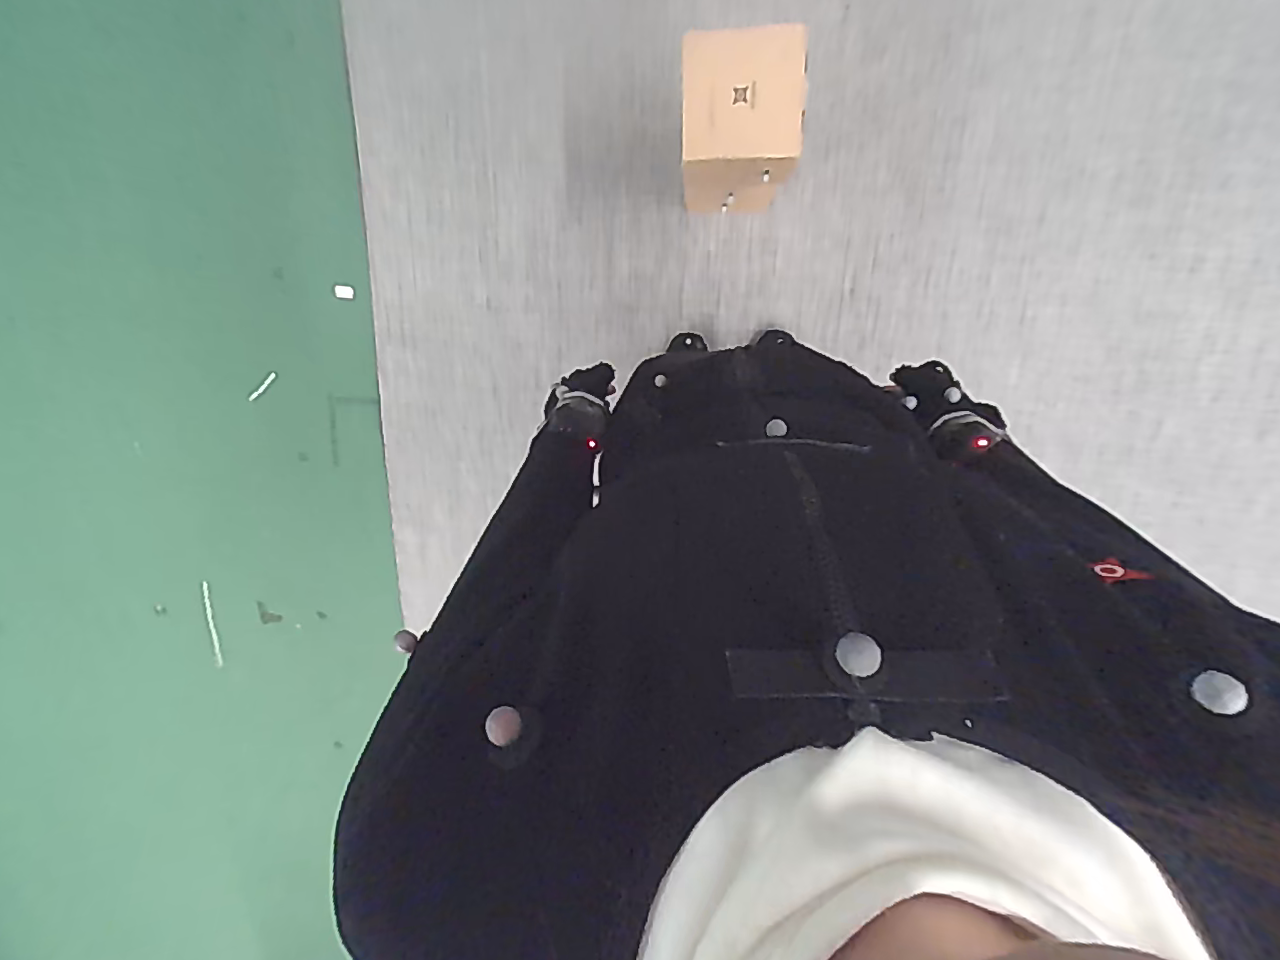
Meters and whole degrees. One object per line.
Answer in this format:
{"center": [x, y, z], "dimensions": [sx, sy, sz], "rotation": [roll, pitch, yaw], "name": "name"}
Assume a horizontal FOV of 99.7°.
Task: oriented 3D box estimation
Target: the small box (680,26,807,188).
{"center": [0.156, -0.573, 0.854], "dimensions": [0.179, 0.176, 0.168], "rotation": [1, 105, 8], "name": "small box"}

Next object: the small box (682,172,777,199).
{"center": [0.167, -0.632, 1.006], "dimensions": [0.179, 0.176, 0.168], "rotation": [1, 106, 6], "name": "small box"}

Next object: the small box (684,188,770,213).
{"center": [0.188, -0.680, 1.160], "dimensions": [0.179, 0.176, 0.168], "rotation": [3, 106, 7], "name": "small box"}
